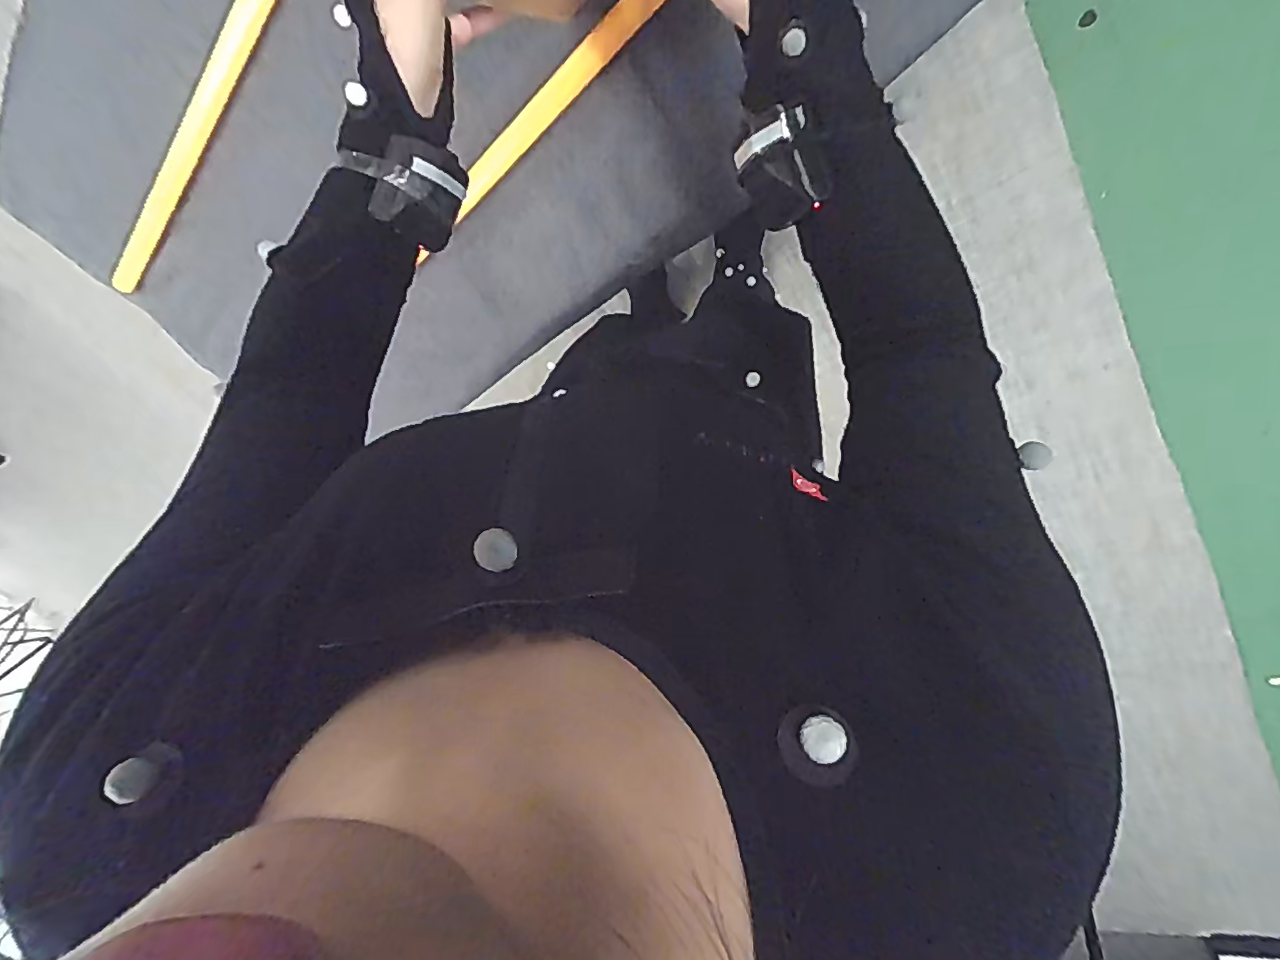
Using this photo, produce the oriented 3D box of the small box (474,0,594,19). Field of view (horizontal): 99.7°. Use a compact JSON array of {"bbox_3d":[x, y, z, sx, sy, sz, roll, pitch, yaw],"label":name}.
[{"bbox_3d":[-0.062,-0.452,0.356,0.179,0.176,0.168,-24,116,31],"label":"small box"}]
